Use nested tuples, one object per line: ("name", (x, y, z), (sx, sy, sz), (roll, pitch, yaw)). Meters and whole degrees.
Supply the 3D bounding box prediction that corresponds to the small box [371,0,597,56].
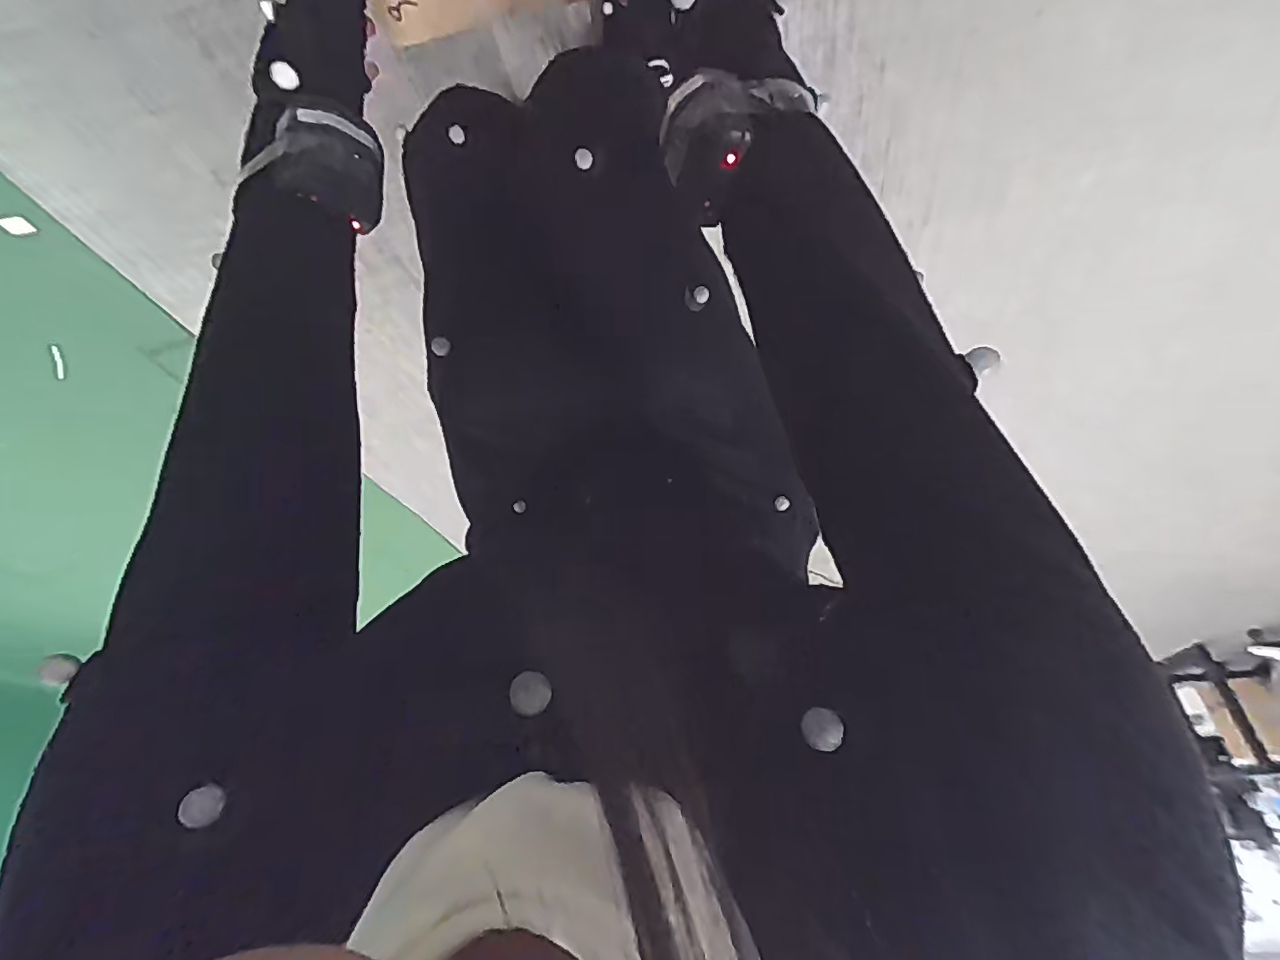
("small box", (-0.137, -0.476, 0.419), (0.179, 0.176, 0.168), (-8, 147, 7))
